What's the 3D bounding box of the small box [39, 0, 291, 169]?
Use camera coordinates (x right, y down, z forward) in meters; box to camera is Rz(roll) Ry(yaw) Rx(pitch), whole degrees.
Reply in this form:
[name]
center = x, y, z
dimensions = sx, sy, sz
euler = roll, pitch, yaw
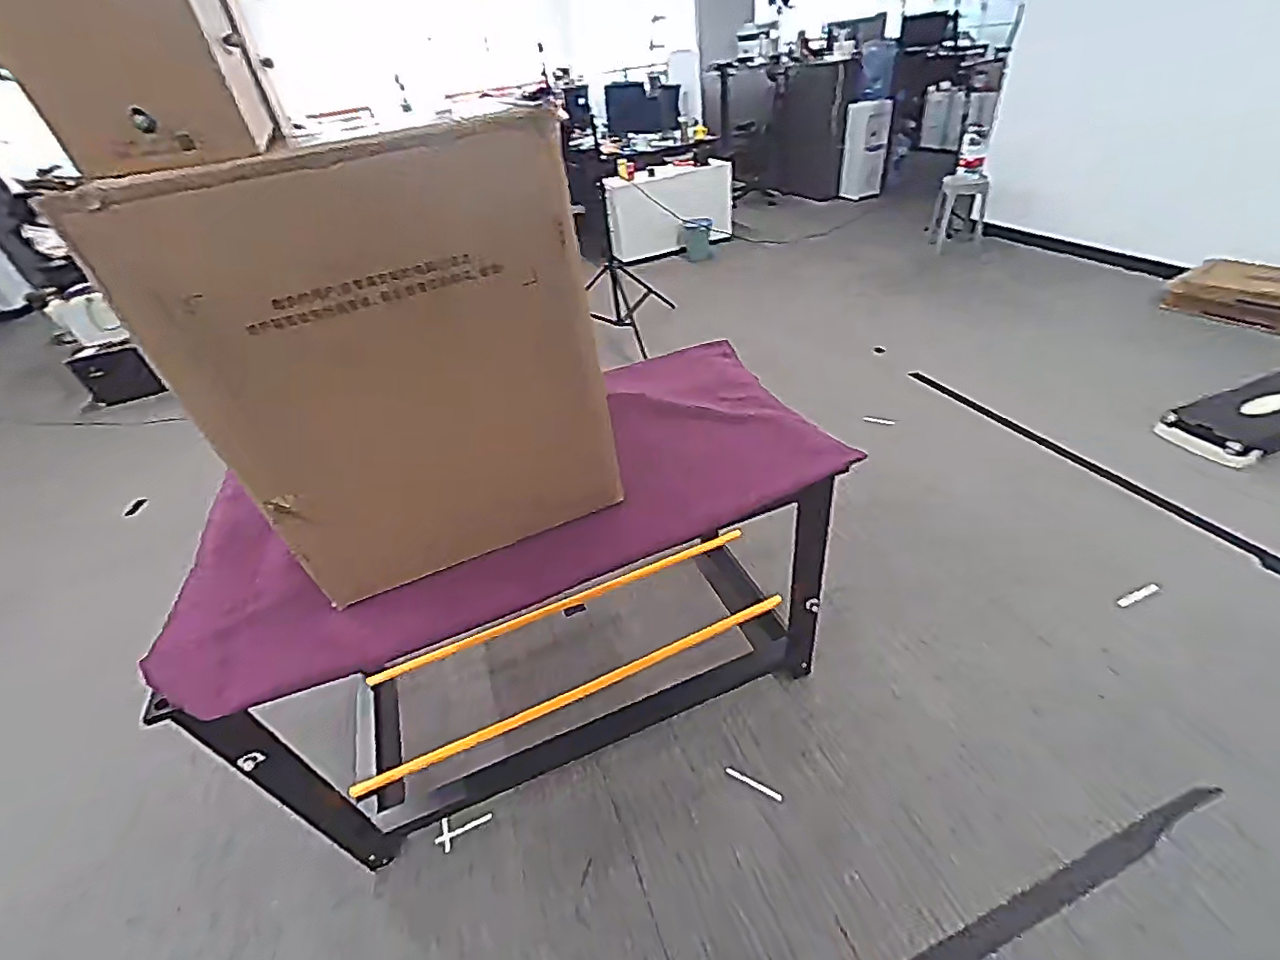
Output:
[small box]
center = -0.581, -0.517, 0.696
dimensions = 0.179, 0.176, 0.168
euler = -20, 39, -16
